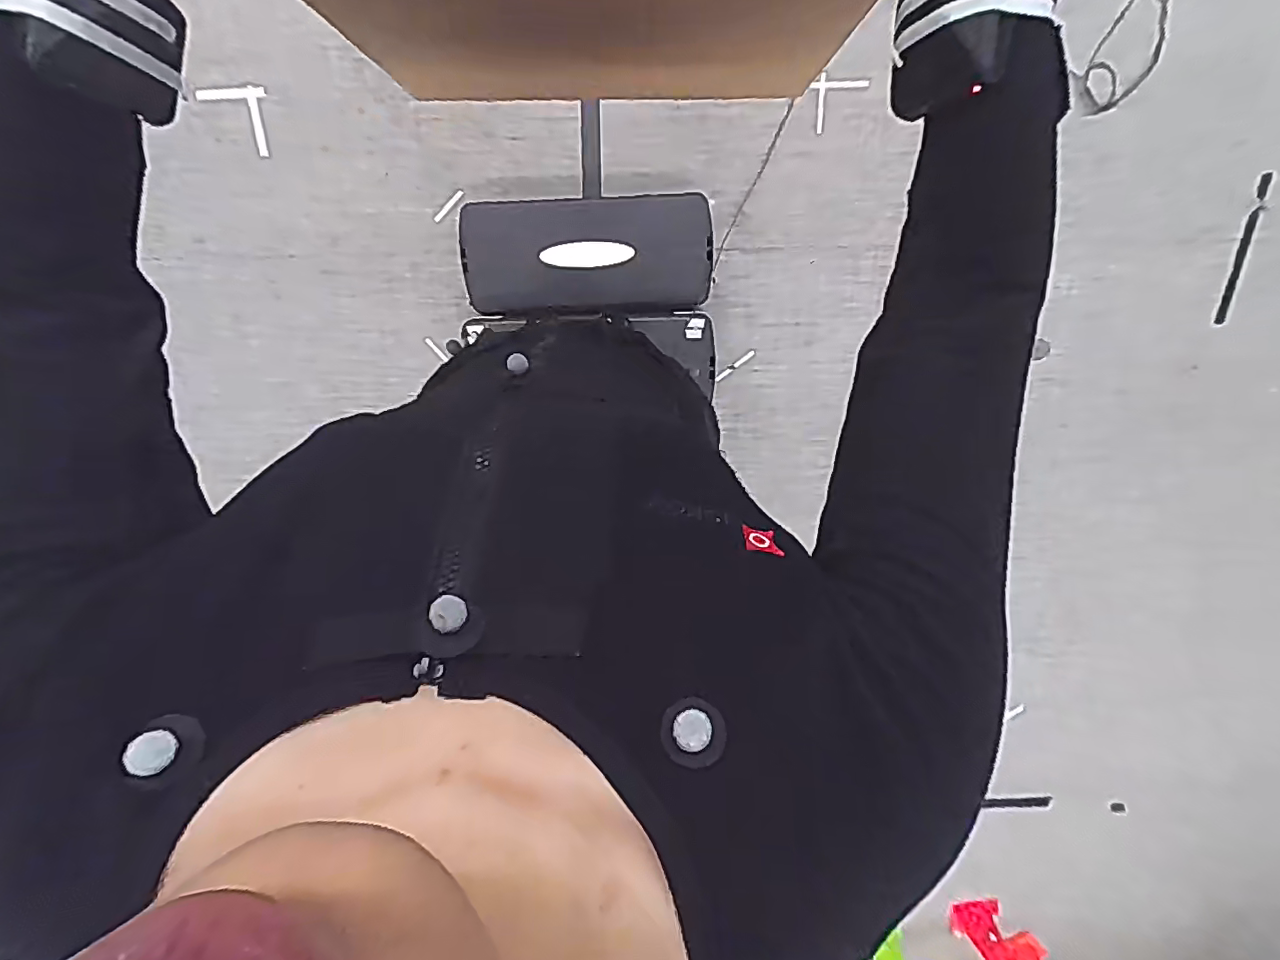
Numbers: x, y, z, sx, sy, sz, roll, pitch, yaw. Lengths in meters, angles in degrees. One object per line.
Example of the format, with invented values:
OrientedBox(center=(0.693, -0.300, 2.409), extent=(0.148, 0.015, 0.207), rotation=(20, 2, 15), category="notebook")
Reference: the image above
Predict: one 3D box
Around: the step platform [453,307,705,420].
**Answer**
OrientedBox(center=(-0.162, -0.323, 1.507), extent=(0.684, 0.204, 0.286), rotation=(-2, 107, 0), category="step platform")

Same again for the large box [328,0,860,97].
OrientedBox(center=(-0.034, -0.501, 0.374), extent=(0.408, 0.320, 0.320), rotation=(-1, 109, 0), category="large box")
